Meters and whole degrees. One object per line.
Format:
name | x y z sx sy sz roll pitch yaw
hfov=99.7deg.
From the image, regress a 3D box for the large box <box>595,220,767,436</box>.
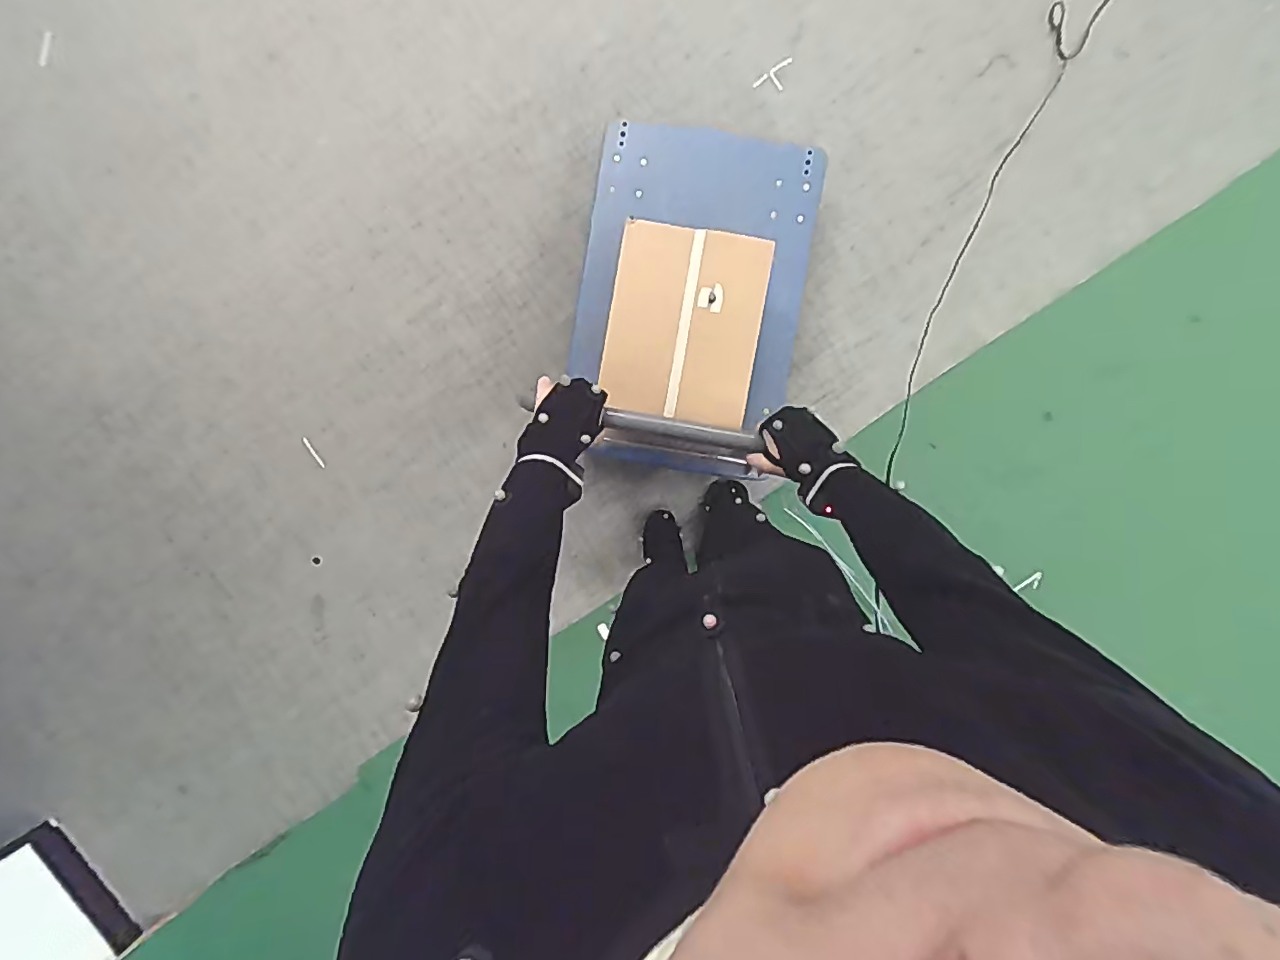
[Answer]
large box | 0.092 -0.329 1.283 0.320 0.320 0.408 10 92 1
